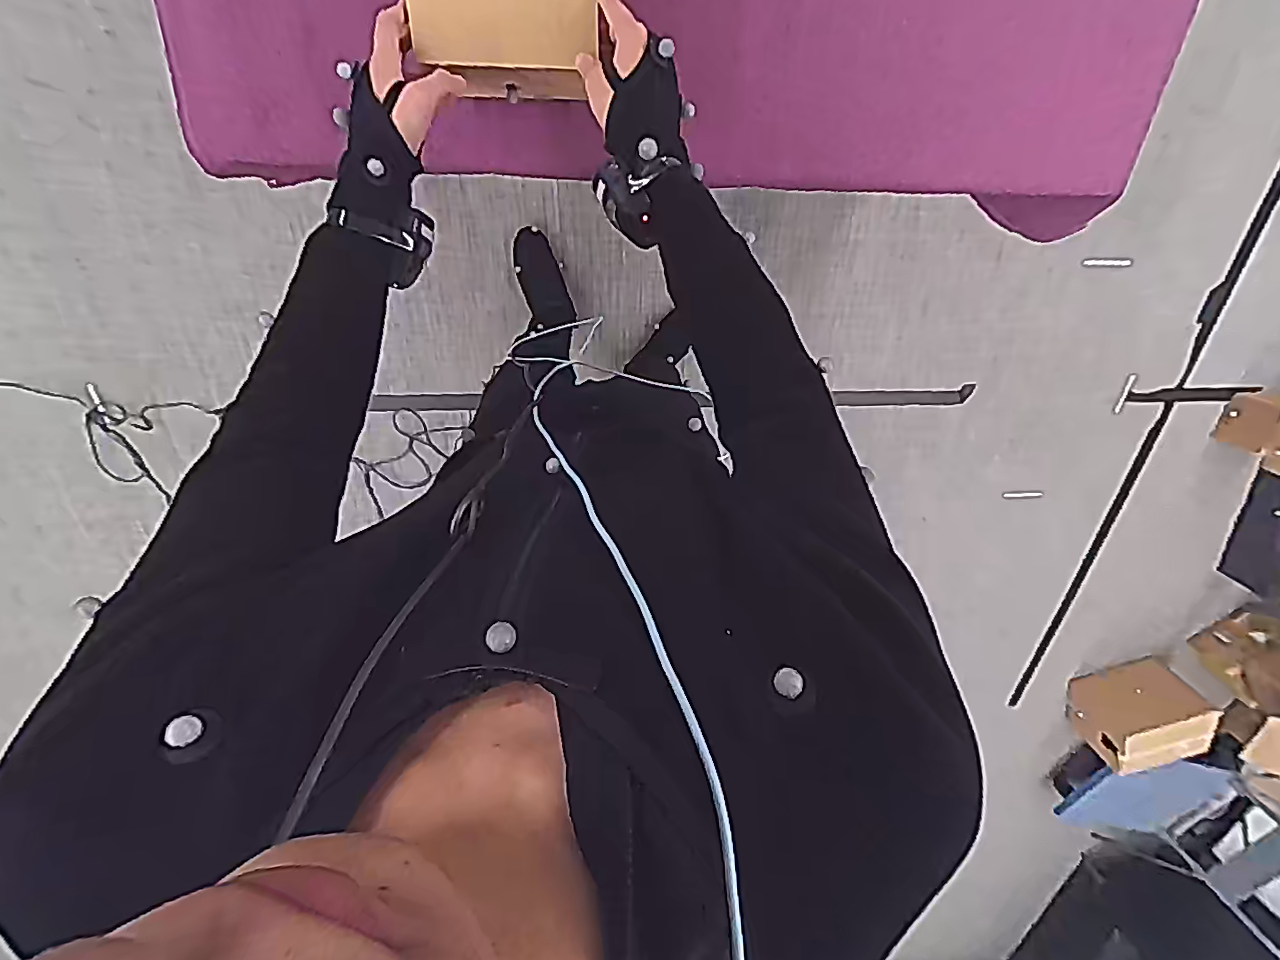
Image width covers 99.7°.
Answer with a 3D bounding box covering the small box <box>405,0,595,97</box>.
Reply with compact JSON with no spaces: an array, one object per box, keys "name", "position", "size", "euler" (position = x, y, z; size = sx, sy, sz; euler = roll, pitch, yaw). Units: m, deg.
[{"name":"small box","position":[-0.127,-0.486,0.520],"size":[0.168,0.176,0.179],"euler":[-2,117,-7]}]
